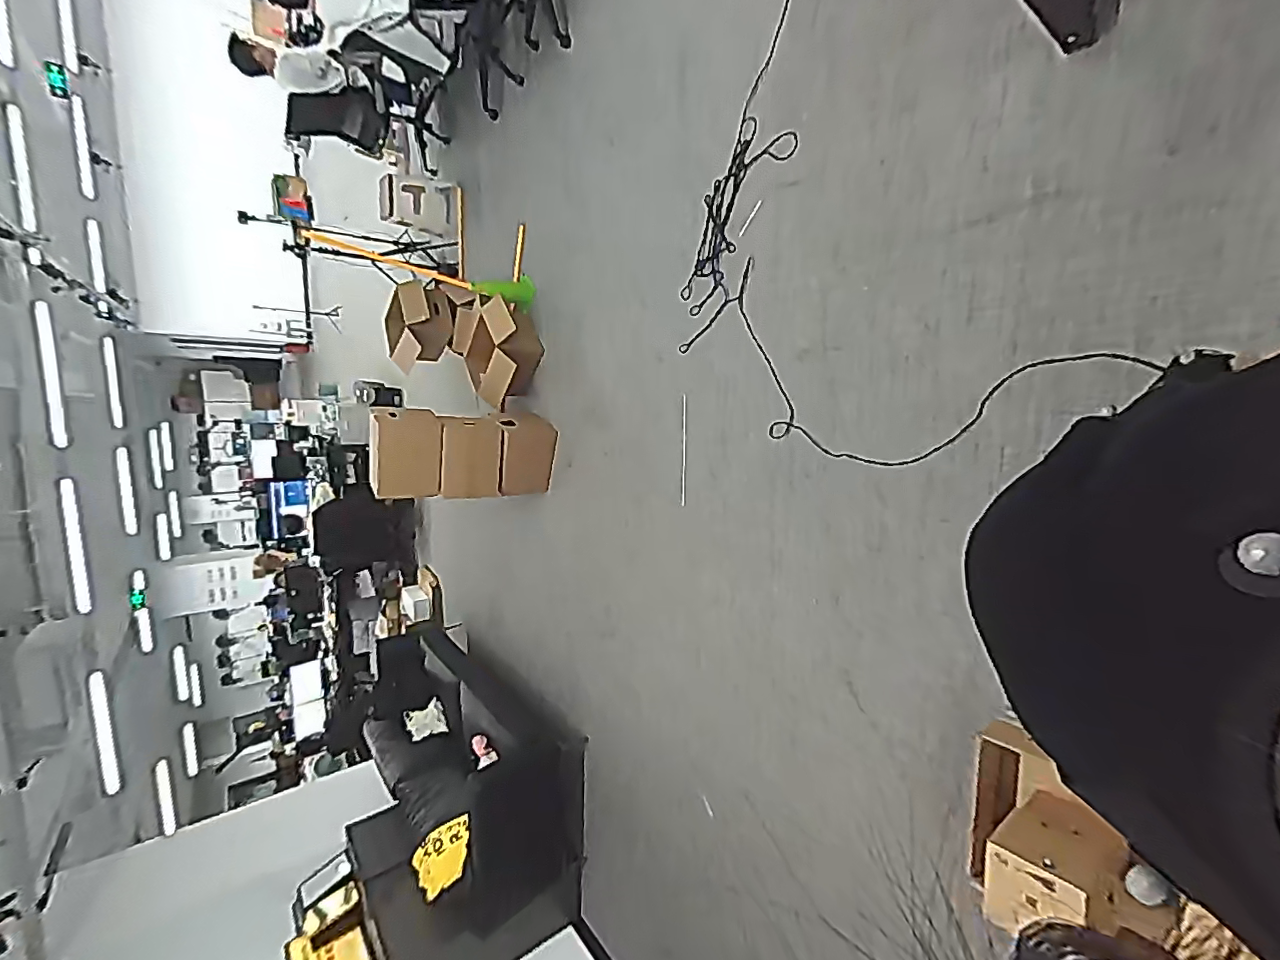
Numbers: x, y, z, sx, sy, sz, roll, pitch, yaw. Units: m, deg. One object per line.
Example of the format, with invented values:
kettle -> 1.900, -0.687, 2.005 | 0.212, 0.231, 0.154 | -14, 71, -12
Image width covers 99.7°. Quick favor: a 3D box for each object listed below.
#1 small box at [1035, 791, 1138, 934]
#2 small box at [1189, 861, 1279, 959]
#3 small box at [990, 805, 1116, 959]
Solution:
small box -> 0.979, 0.832, 1.202 | 0.179, 0.176, 0.168 | 0, 93, 53
small box -> 1.142, 0.849, 0.986 | 0.179, 0.176, 0.168 | 4, 96, 54
small box -> 0.845, 0.819, 1.106 | 0.168, 0.176, 0.179 | 7, 100, 52
